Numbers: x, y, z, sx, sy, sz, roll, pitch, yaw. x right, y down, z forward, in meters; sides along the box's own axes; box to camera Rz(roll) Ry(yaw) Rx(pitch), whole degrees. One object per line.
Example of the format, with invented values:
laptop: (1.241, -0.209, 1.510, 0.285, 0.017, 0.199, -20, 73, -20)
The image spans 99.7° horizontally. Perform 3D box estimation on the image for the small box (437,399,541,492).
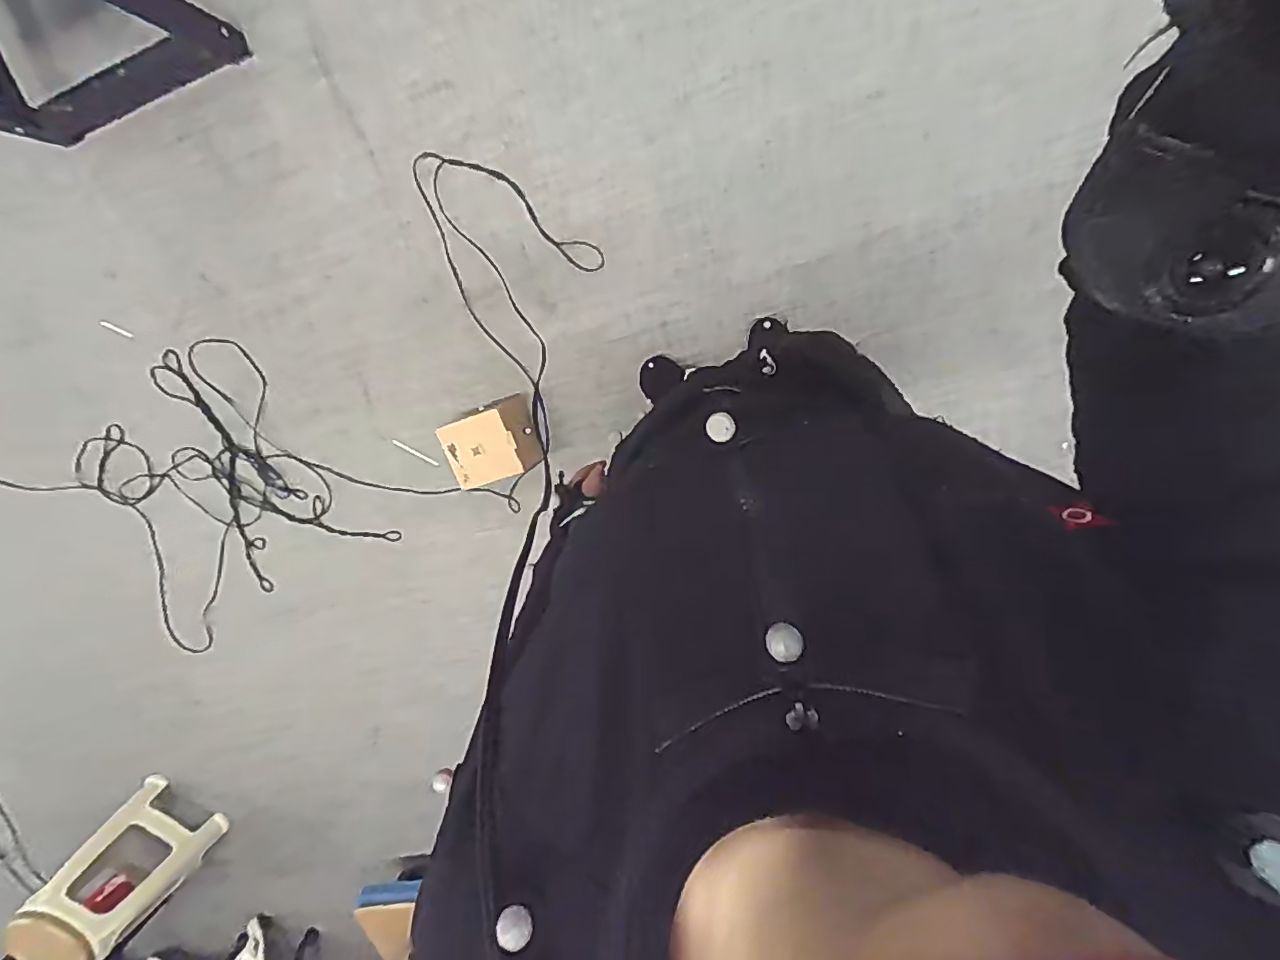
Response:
small box: (-0.363, -0.091, 1.348, 0.179, 0.176, 0.168, -16, 105, 13)
